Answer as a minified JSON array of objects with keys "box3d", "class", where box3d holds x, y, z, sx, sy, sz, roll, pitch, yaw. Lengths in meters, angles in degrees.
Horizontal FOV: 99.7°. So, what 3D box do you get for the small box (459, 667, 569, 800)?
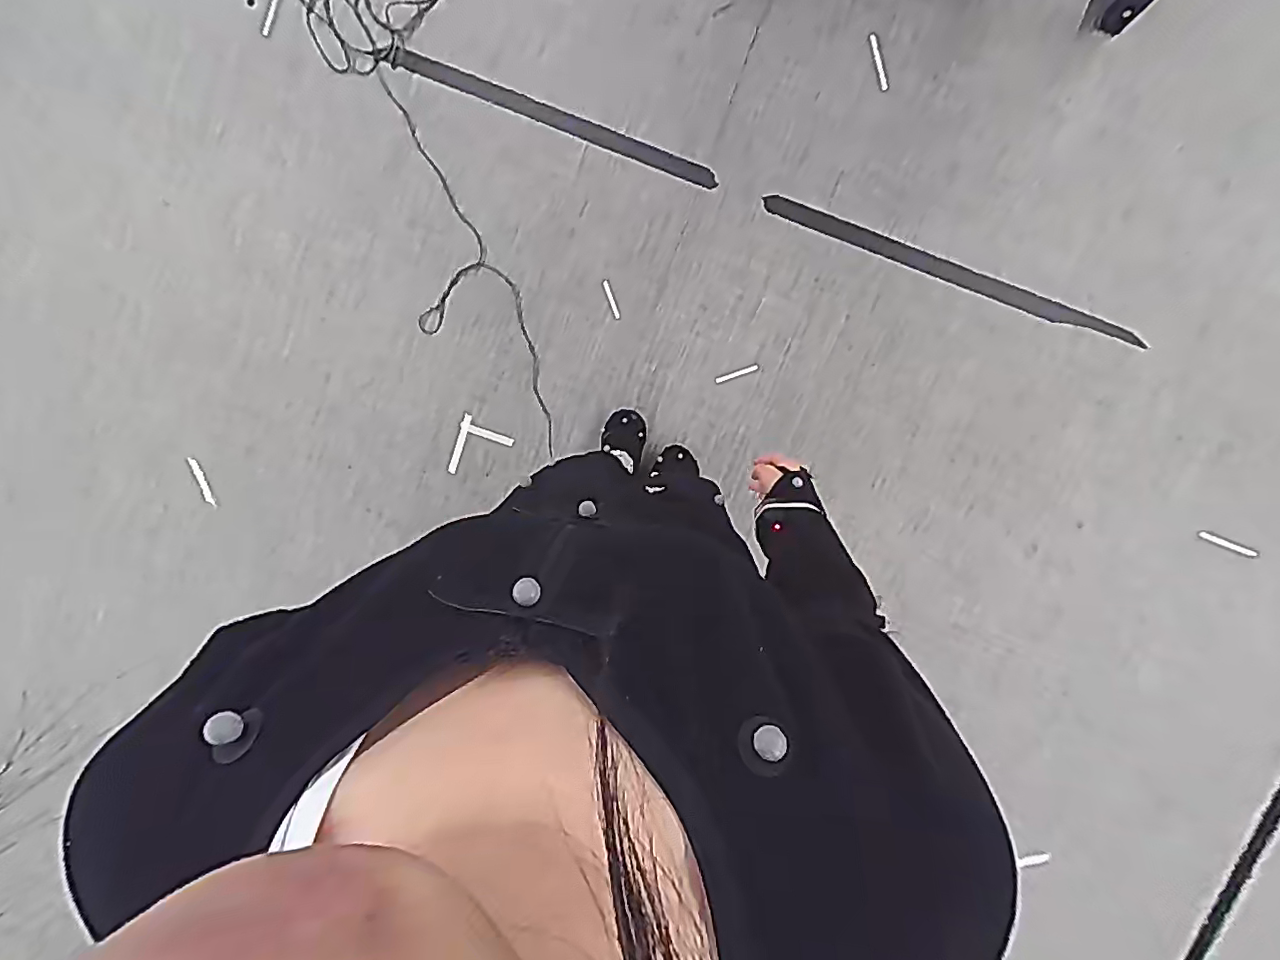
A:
[{"box3d":[-0.264,0.540,1.172,0.168,0.176,0.179,18,94,2],"class":"small box"}]
